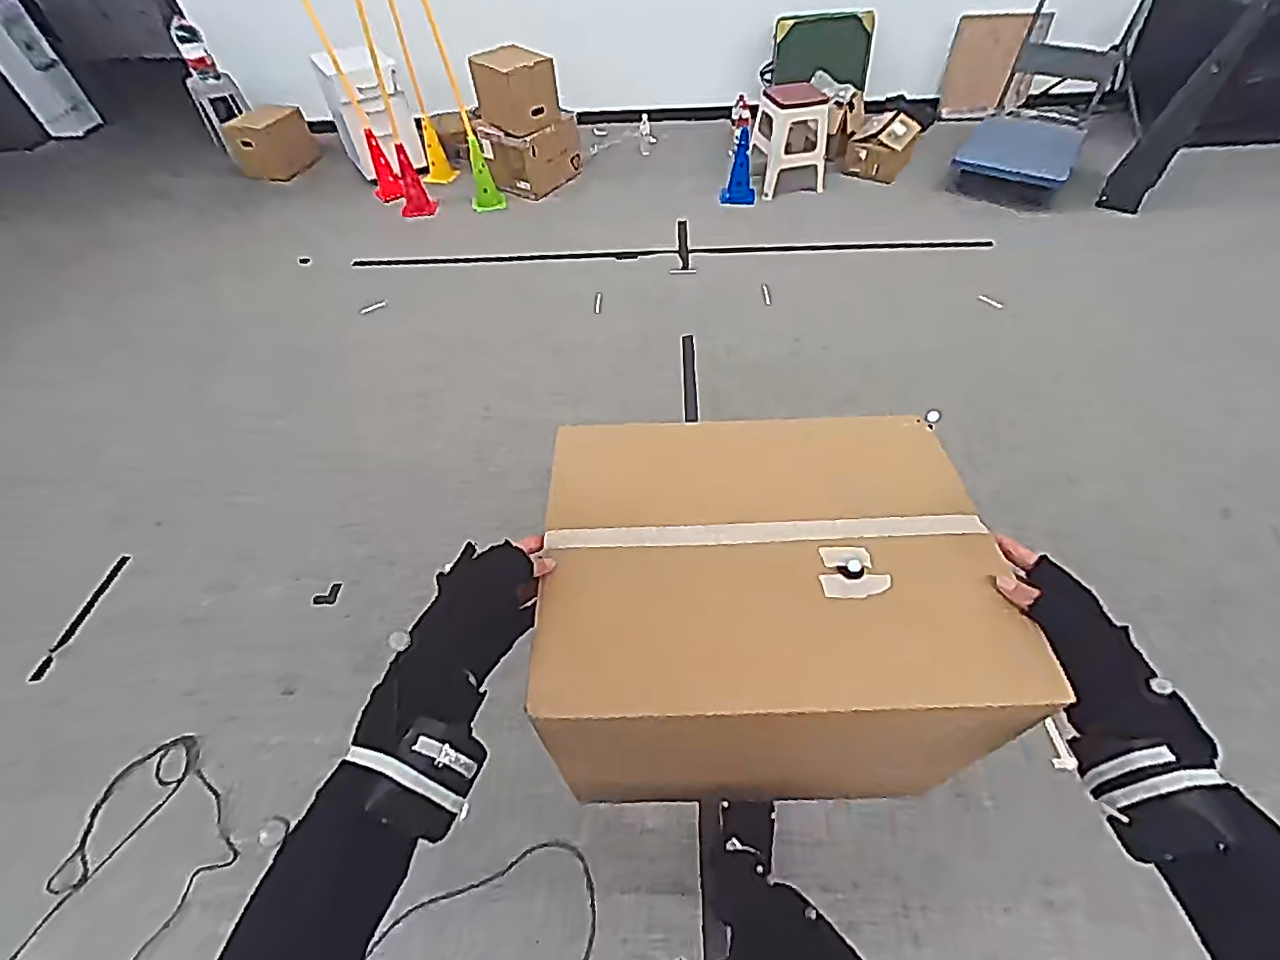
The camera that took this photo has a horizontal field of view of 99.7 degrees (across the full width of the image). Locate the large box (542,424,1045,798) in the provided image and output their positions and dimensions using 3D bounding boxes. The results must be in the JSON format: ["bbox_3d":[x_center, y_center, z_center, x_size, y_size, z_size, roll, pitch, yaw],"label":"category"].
[{"bbox_3d":[0.118,0.156,0.627,0.408,0.320,0.320,-2,49,0],"label":"large box"}]
